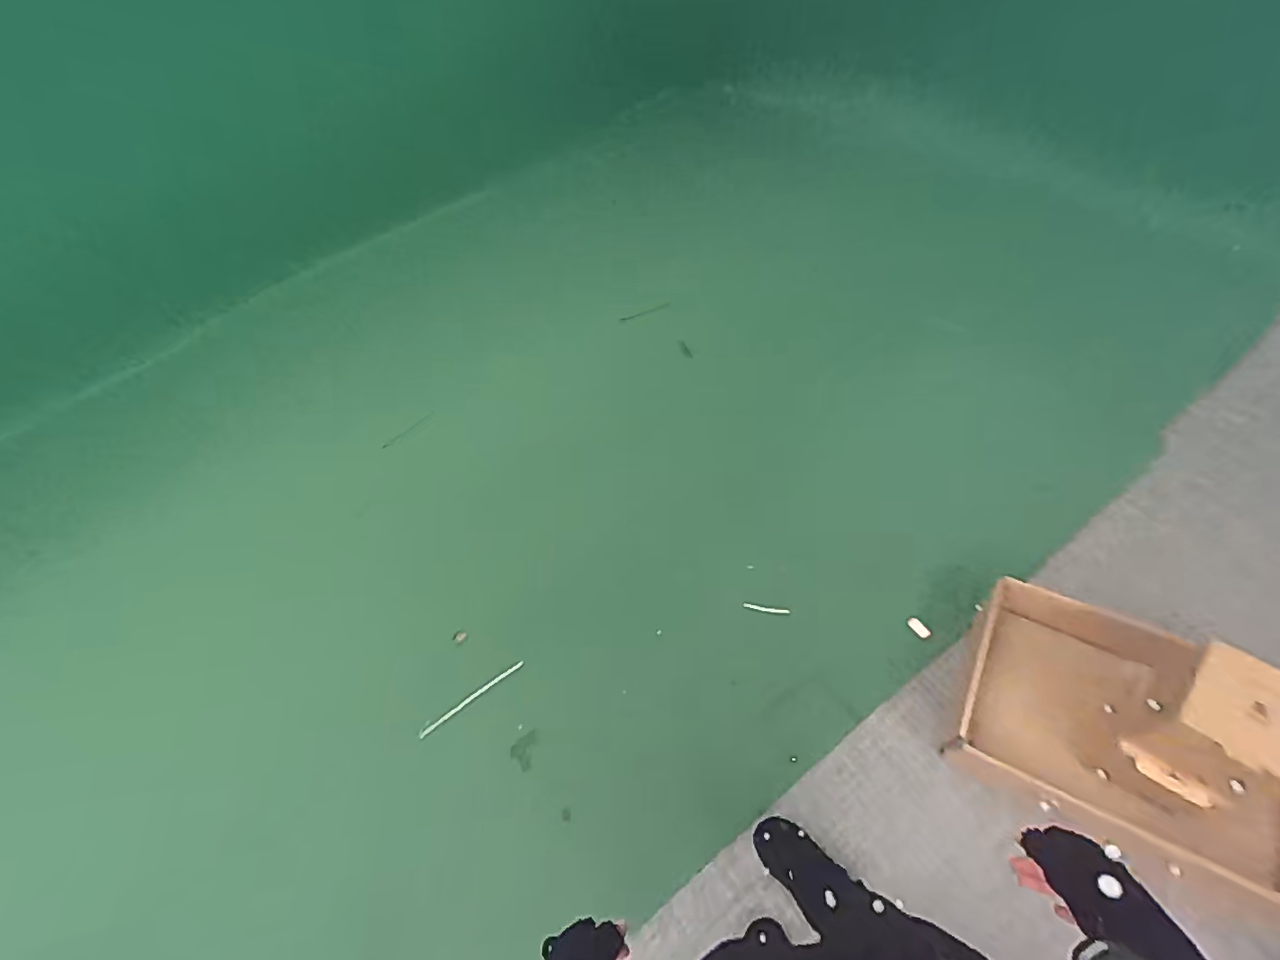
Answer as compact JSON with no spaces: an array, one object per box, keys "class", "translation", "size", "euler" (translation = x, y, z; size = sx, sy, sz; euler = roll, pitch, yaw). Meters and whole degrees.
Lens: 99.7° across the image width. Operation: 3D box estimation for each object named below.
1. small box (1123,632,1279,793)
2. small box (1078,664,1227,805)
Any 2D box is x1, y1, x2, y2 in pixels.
[{"class":"small box","translation":[0.984,0.401,0.925],"size":[0.168,0.176,0.179],"euler":[33,66,28]},{"class":"small box","translation":[1.001,0.499,1.053],"size":[0.168,0.176,0.179],"euler":[29,65,28]}]
